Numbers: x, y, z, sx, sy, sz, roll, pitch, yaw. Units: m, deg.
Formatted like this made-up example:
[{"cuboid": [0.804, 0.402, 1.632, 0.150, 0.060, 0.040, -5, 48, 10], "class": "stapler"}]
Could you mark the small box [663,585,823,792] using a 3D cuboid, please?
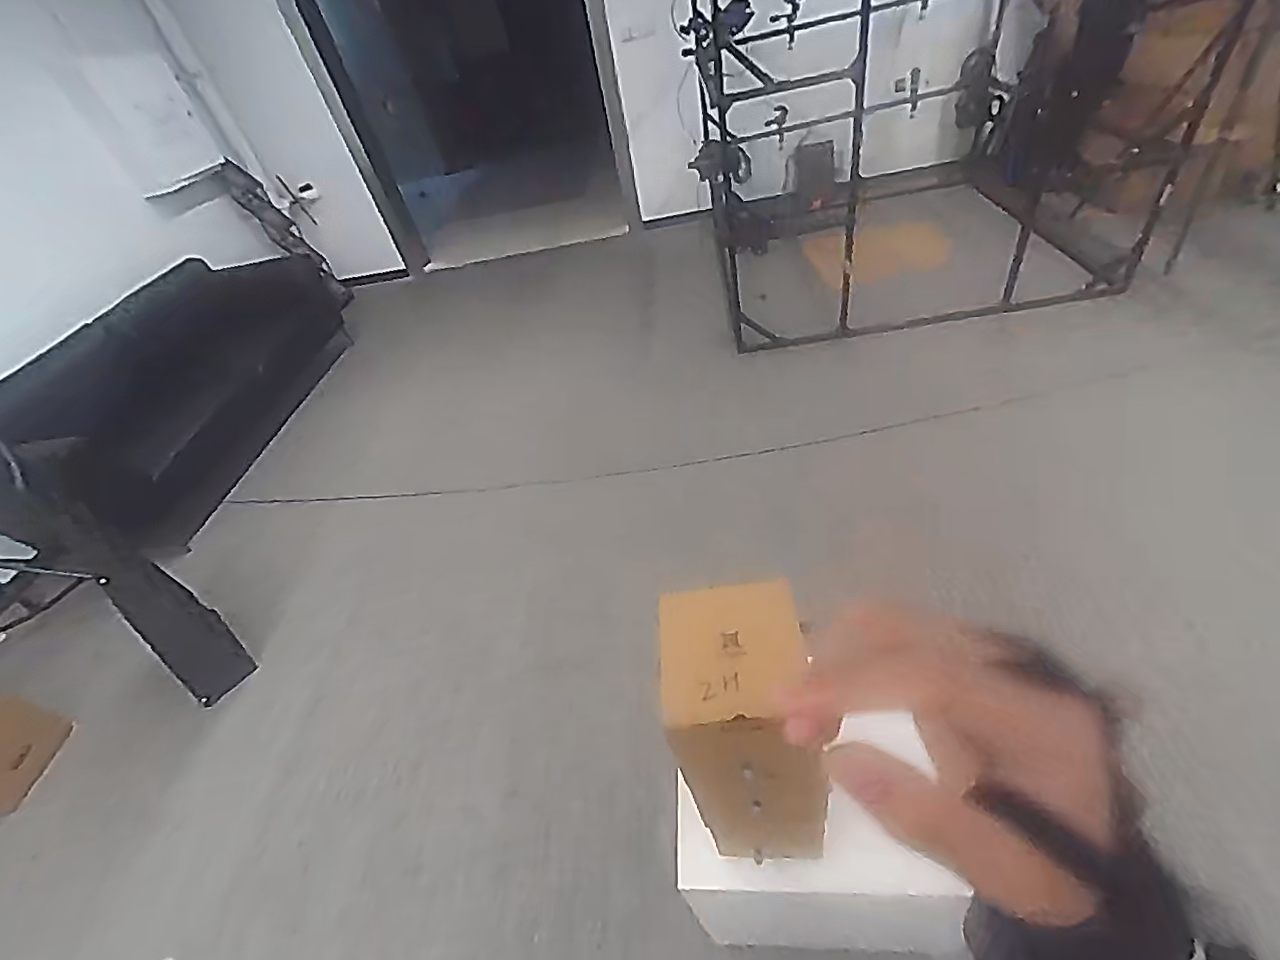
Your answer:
[{"cuboid": [0.123, 0.258, 0.670, 0.168, 0.176, 0.179, -9, 40, 9], "class": "small box"}]

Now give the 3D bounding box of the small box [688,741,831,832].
[{"cuboid": [0.162, 0.382, 0.771, 0.179, 0.176, 0.168, -10, 40, 9], "class": "small box"}]

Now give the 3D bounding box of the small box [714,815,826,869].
[{"cuboid": [0.201, 0.501, 0.877, 0.168, 0.176, 0.179, -6, 41, 11], "class": "small box"}]
